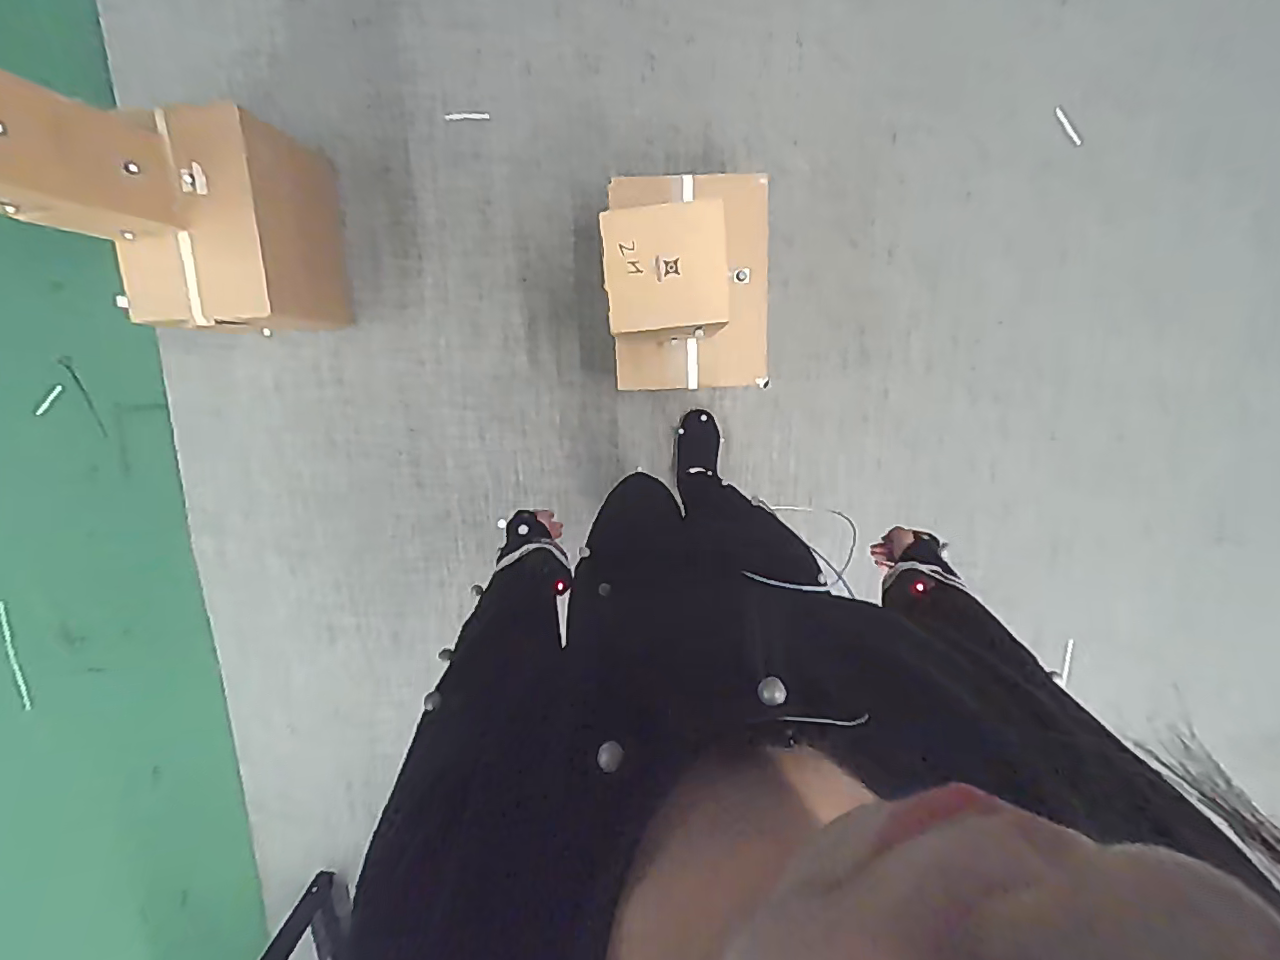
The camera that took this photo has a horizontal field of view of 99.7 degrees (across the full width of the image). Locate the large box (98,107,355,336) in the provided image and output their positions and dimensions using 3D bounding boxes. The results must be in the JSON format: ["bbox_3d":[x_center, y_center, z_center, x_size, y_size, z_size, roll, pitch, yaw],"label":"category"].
[{"bbox_3d":[-0.915,-0.559,1.251,0.320,0.320,0.408,-2,101,4],"label":"large box"}]

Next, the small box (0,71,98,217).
[{"bbox_3d":[-1.024,-0.531,0.847,0.168,0.176,0.179,-1,102,6],"label":"small box"}]

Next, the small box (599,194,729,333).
[{"bbox_3d":[0.040,-0.325,0.841,0.179,0.176,0.168,-5,101,6],"label":"small box"}]
